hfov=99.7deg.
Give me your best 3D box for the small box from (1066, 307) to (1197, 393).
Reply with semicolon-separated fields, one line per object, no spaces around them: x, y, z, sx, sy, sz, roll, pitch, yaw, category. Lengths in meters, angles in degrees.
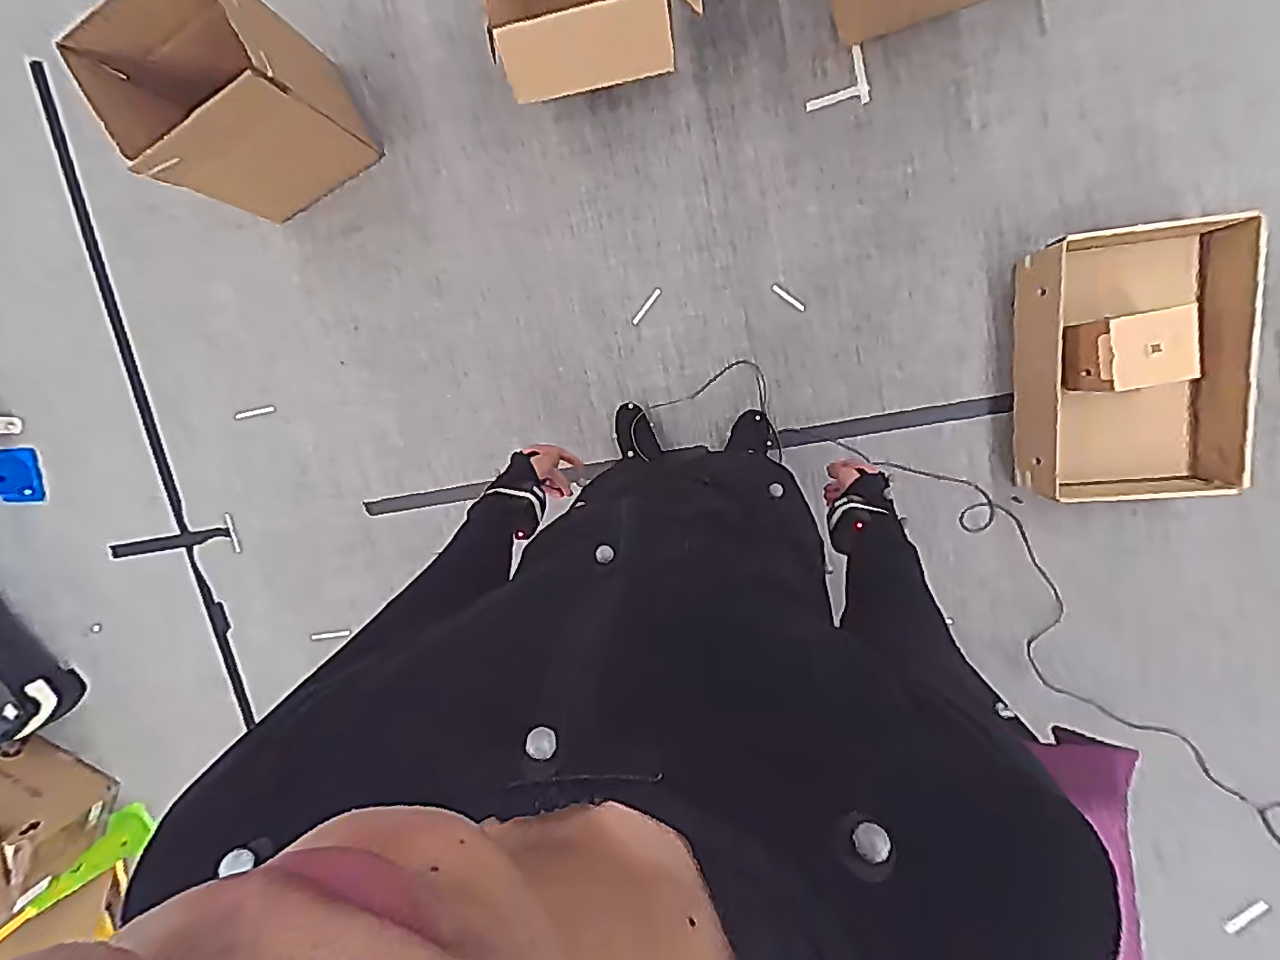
1.148;-0.300;1.279;0.179;0.176;0.168;-9;99;10;small box
